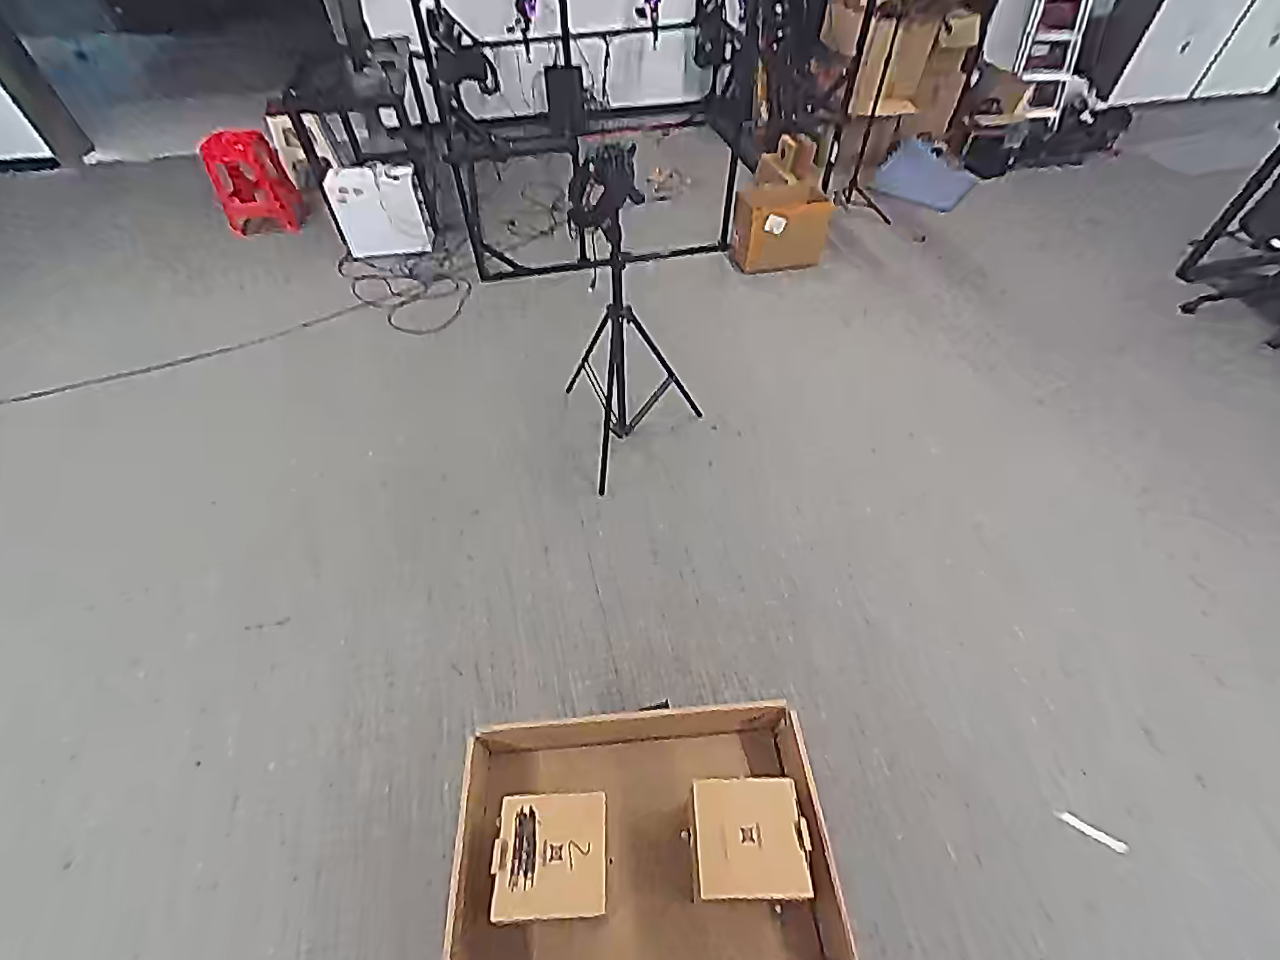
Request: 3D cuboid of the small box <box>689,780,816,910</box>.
[{"bbox_3d":[0.180,0.626,0.927,0.179,0.176,0.168,-1,48,0],"label":"small box"}]
